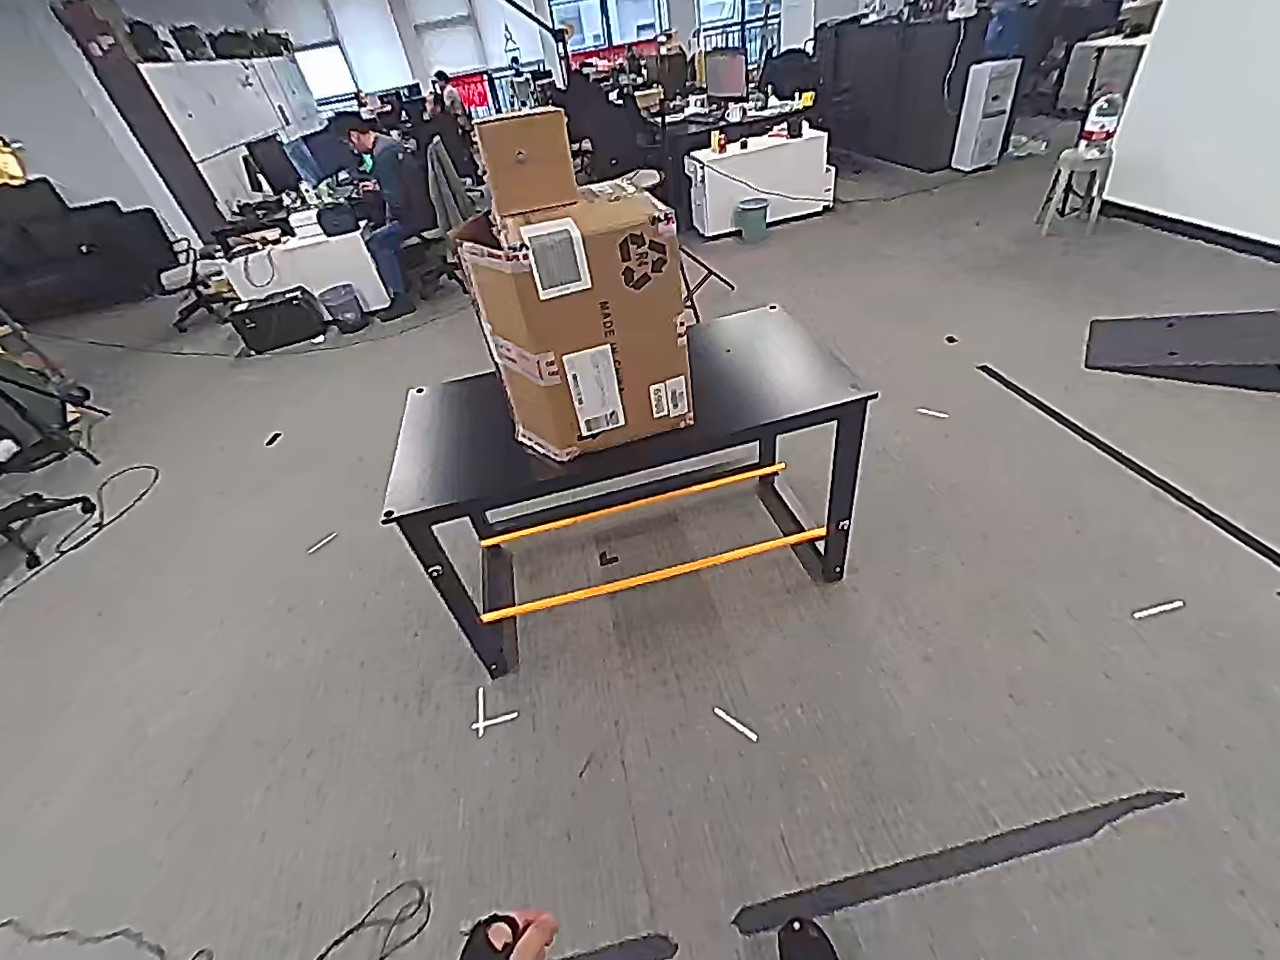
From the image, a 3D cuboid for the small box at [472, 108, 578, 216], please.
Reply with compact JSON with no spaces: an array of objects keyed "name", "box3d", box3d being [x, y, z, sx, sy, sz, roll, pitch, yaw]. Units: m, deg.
[{"name":"small box","box3d":[-0.244,-0.675,1.150,0.179,0.176,0.168,-16,38,-8]}]
